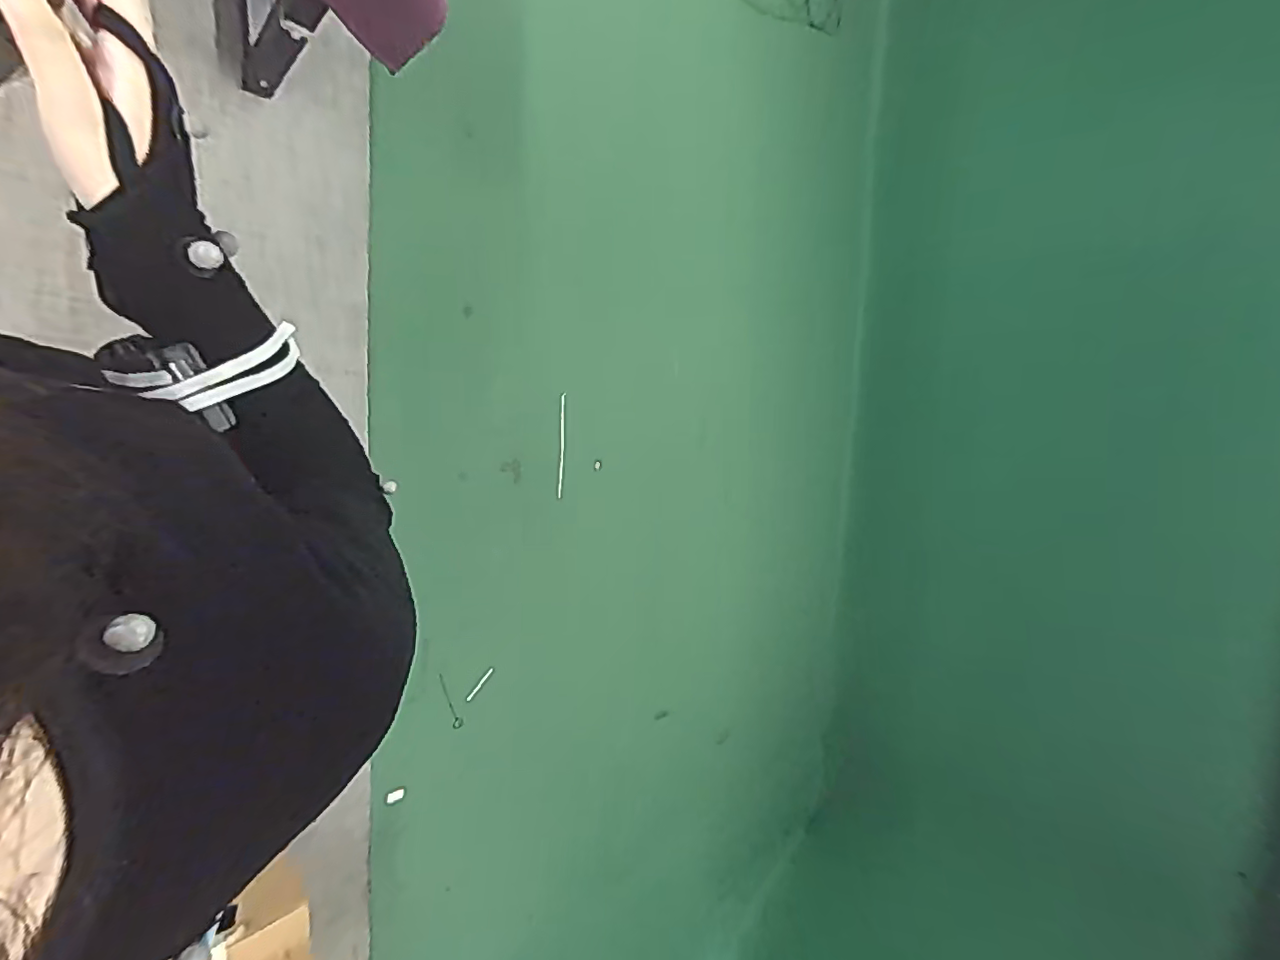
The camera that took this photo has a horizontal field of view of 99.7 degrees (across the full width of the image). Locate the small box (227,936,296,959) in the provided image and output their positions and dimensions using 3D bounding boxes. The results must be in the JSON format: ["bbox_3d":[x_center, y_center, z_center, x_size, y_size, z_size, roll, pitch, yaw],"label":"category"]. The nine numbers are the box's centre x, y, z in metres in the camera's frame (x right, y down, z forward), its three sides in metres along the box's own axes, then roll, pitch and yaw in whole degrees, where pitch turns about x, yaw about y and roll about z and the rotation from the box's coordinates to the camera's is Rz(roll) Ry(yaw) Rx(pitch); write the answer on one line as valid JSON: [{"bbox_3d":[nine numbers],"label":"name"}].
[{"bbox_3d":[-0.764,1.058,1.047,0.168,0.176,0.179,10,89,-49],"label":"small box"}]
